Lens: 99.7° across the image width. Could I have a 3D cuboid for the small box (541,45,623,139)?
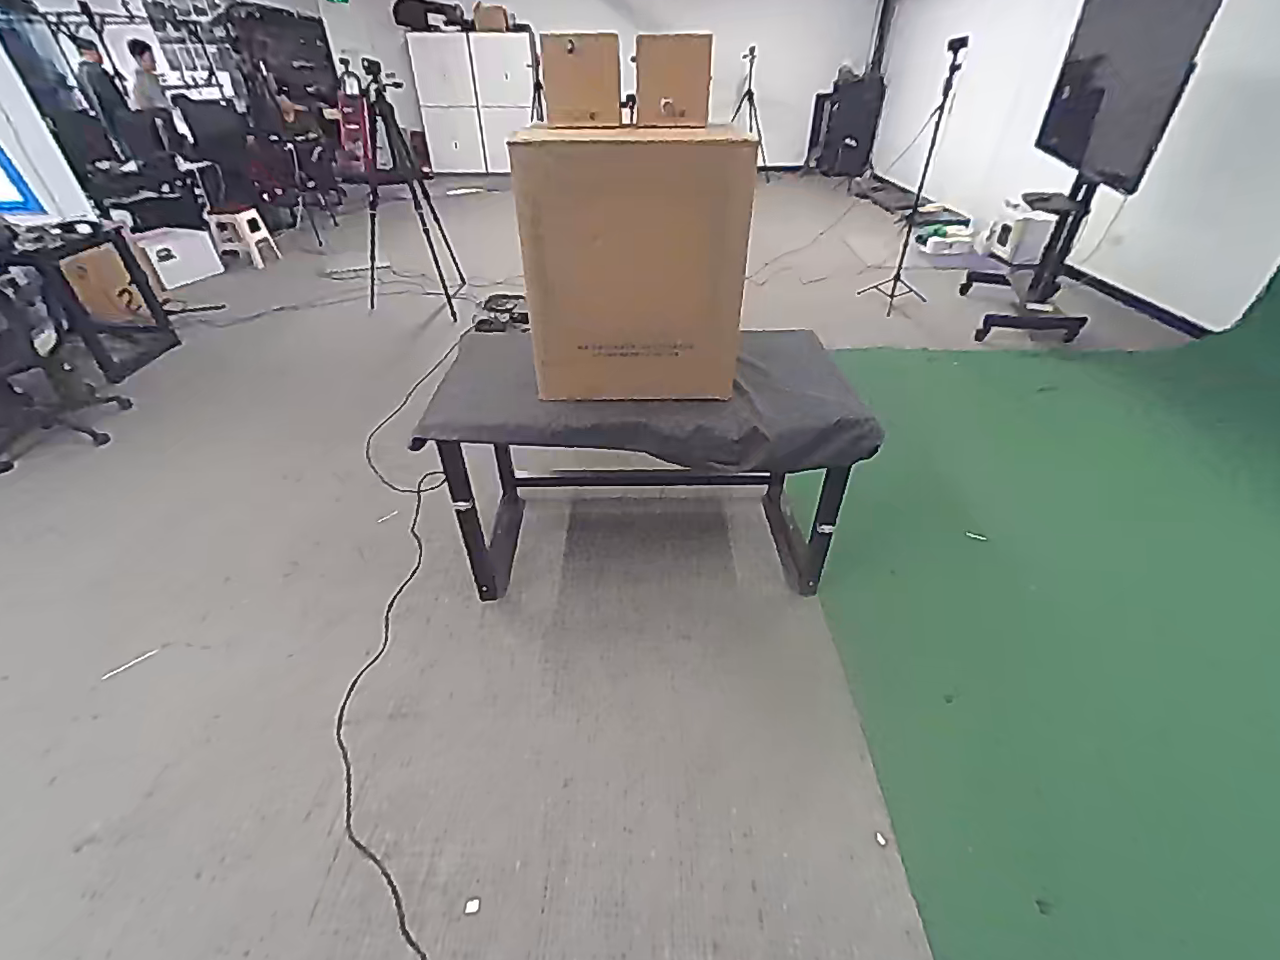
[{"bbox_3d":[-0.128,-0.900,1.260,0.168,0.176,0.179,-1,35,1],"label":"small box"}]
